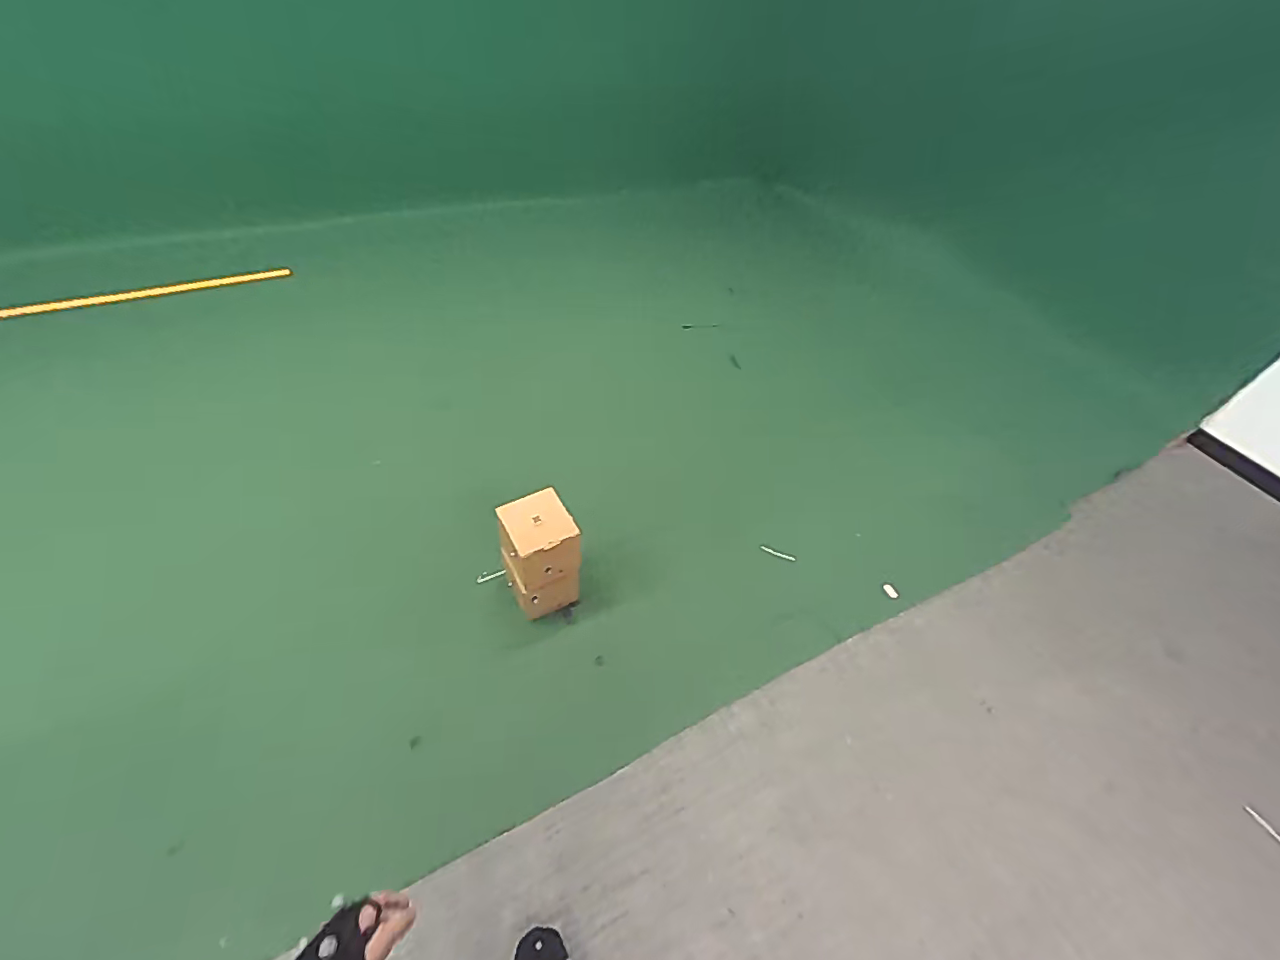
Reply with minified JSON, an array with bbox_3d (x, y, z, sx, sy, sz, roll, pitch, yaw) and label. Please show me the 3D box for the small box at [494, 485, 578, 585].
[{"bbox_3d":[-0.281,0.150,1.465,0.168,0.176,0.179,-22,56,-24],"label":"small box"}]
